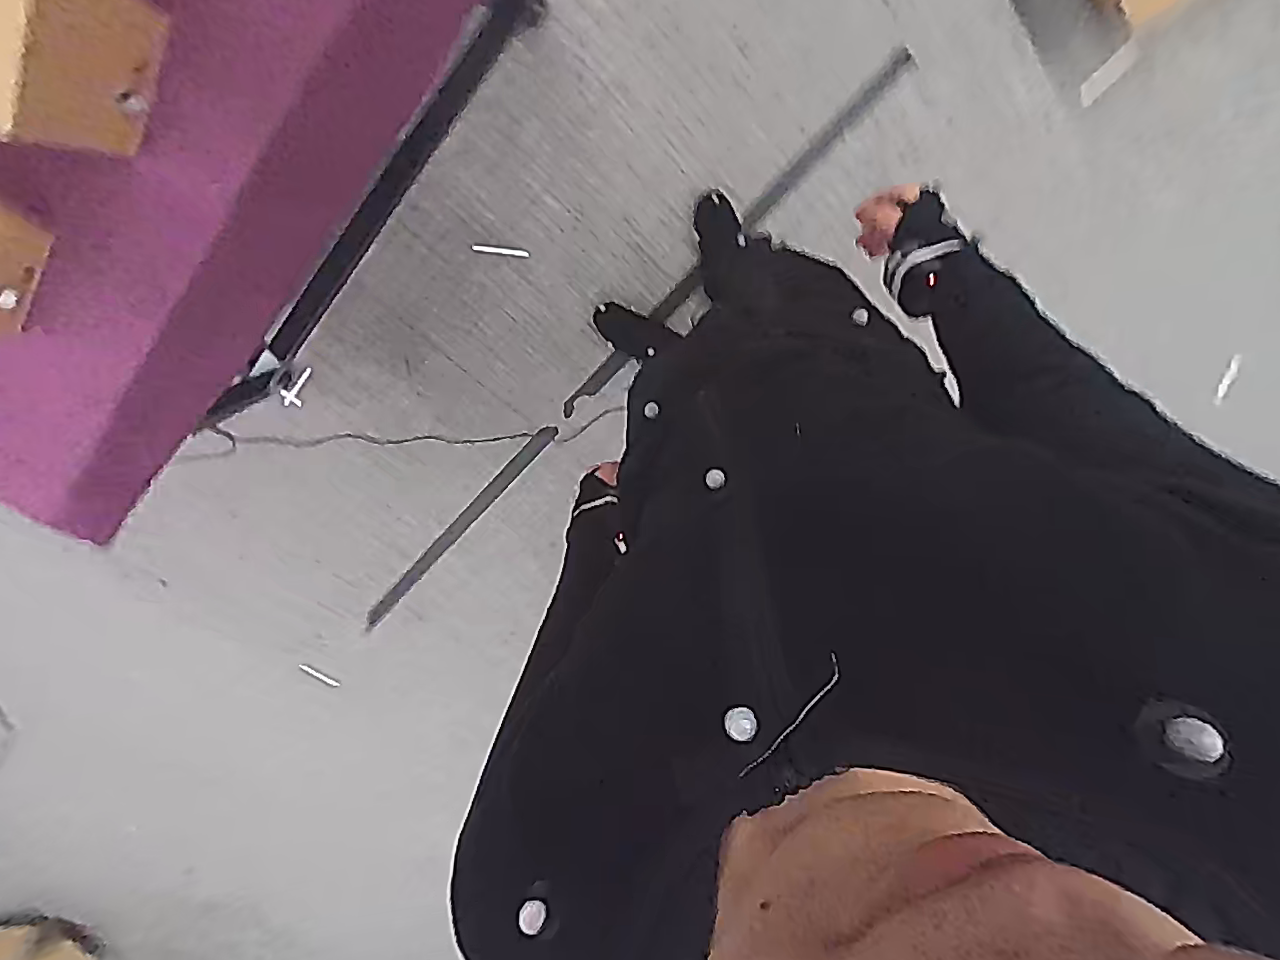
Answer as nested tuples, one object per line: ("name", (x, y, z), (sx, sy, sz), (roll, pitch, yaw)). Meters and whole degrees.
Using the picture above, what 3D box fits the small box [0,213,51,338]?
("small box", (-0.873, -0.260, 0.626), (0.179, 0.176, 0.168), (34, 109, -18))

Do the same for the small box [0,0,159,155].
("small box", (-0.654, -0.459, 0.545), (0.179, 0.176, 0.168), (28, 112, -15))
